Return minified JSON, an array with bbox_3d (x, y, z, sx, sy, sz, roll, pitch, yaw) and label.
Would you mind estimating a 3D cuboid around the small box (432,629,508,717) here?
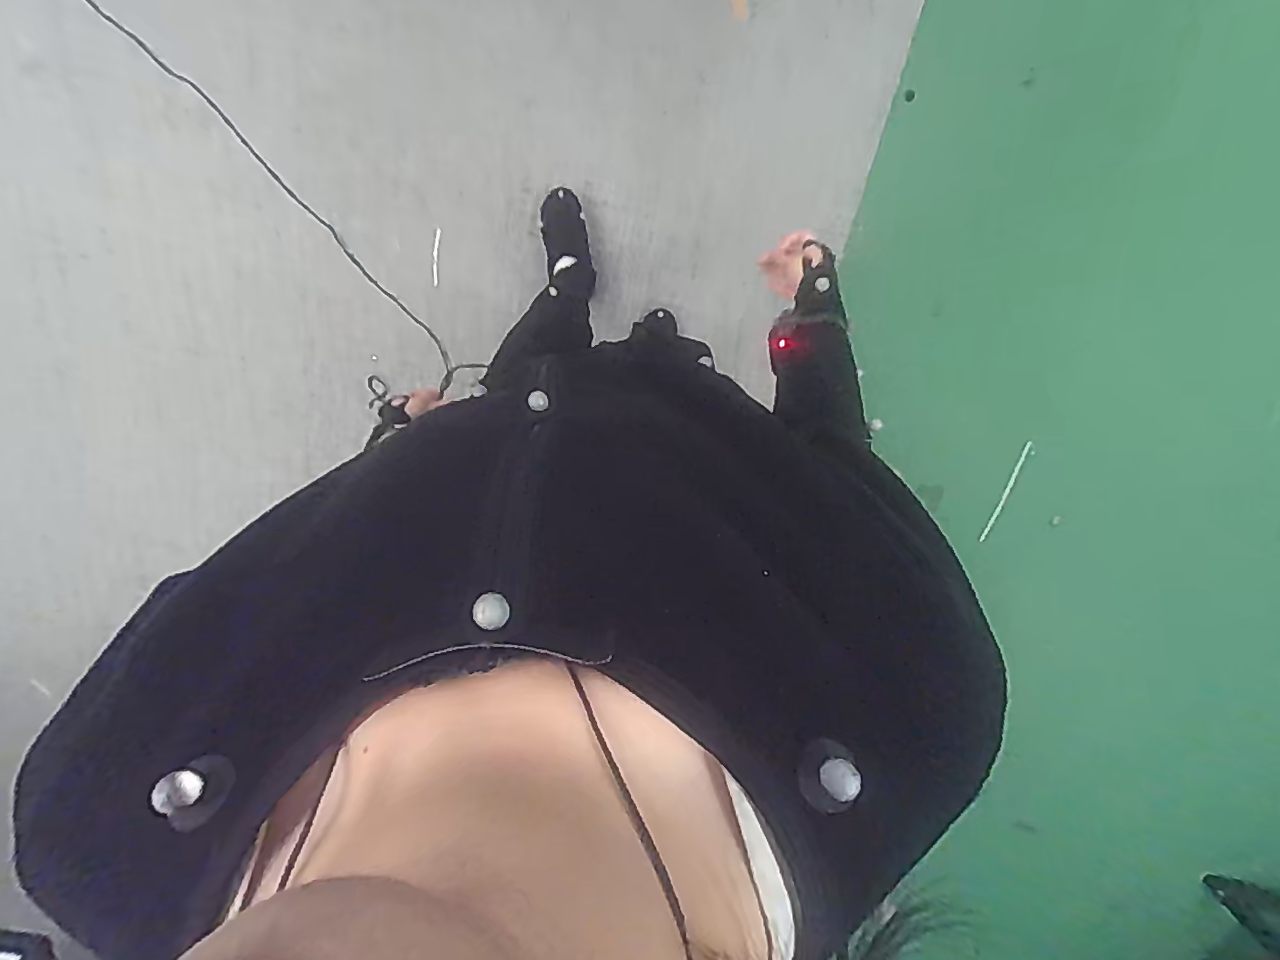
[{"bbox_3d":[-0.525,0.598,1.690,0.168,0.176,0.179,17,111,-4],"label":"small box"}]
